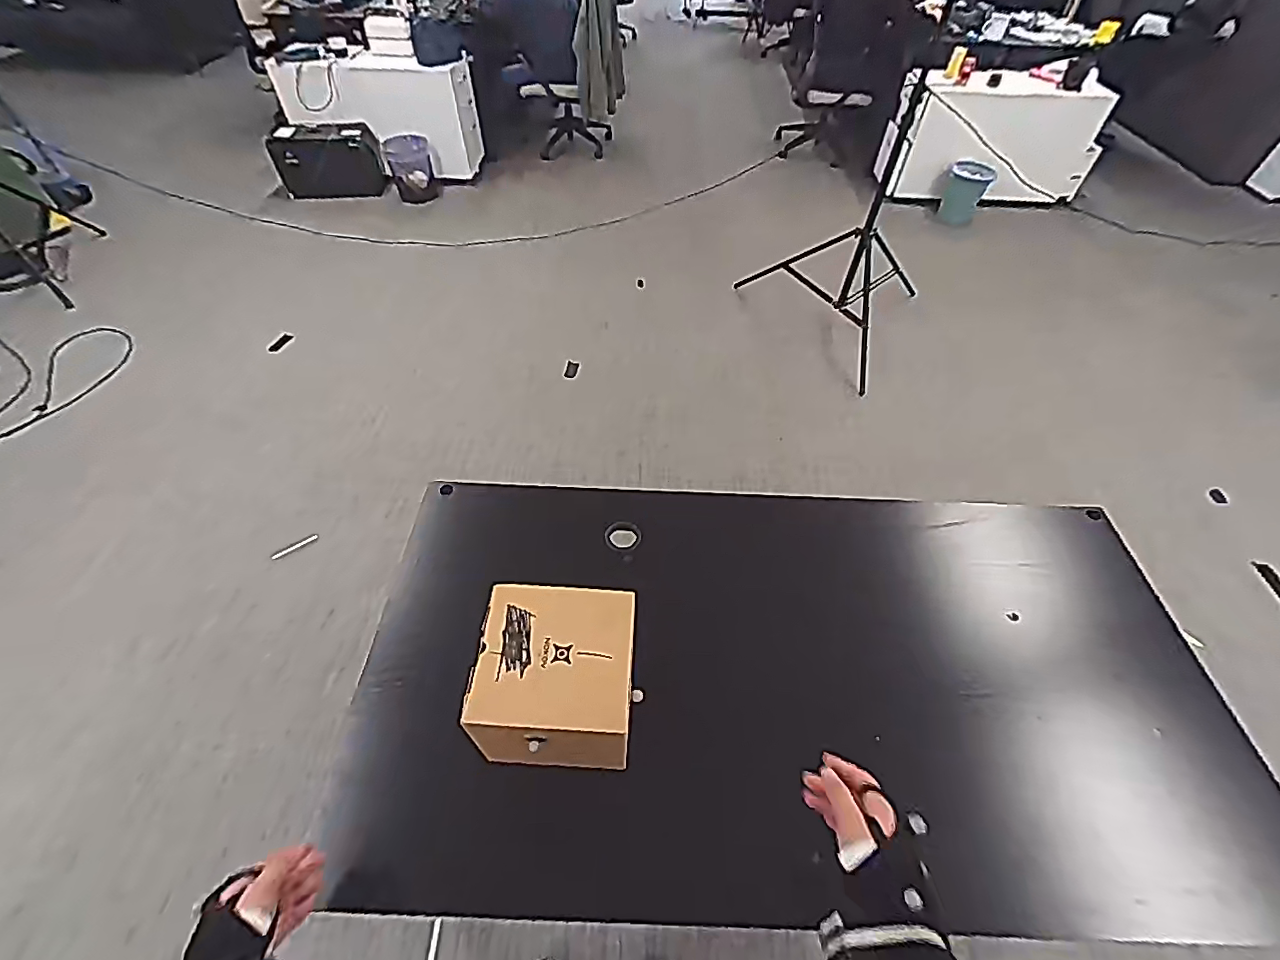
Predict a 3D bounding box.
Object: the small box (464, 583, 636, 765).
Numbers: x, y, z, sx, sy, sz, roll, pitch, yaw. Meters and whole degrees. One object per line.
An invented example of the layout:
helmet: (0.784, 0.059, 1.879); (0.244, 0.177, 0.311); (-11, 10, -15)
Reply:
small box: (-0.099, 0.247, 0.679); (0.179, 0.176, 0.168); (4, 50, 0)
